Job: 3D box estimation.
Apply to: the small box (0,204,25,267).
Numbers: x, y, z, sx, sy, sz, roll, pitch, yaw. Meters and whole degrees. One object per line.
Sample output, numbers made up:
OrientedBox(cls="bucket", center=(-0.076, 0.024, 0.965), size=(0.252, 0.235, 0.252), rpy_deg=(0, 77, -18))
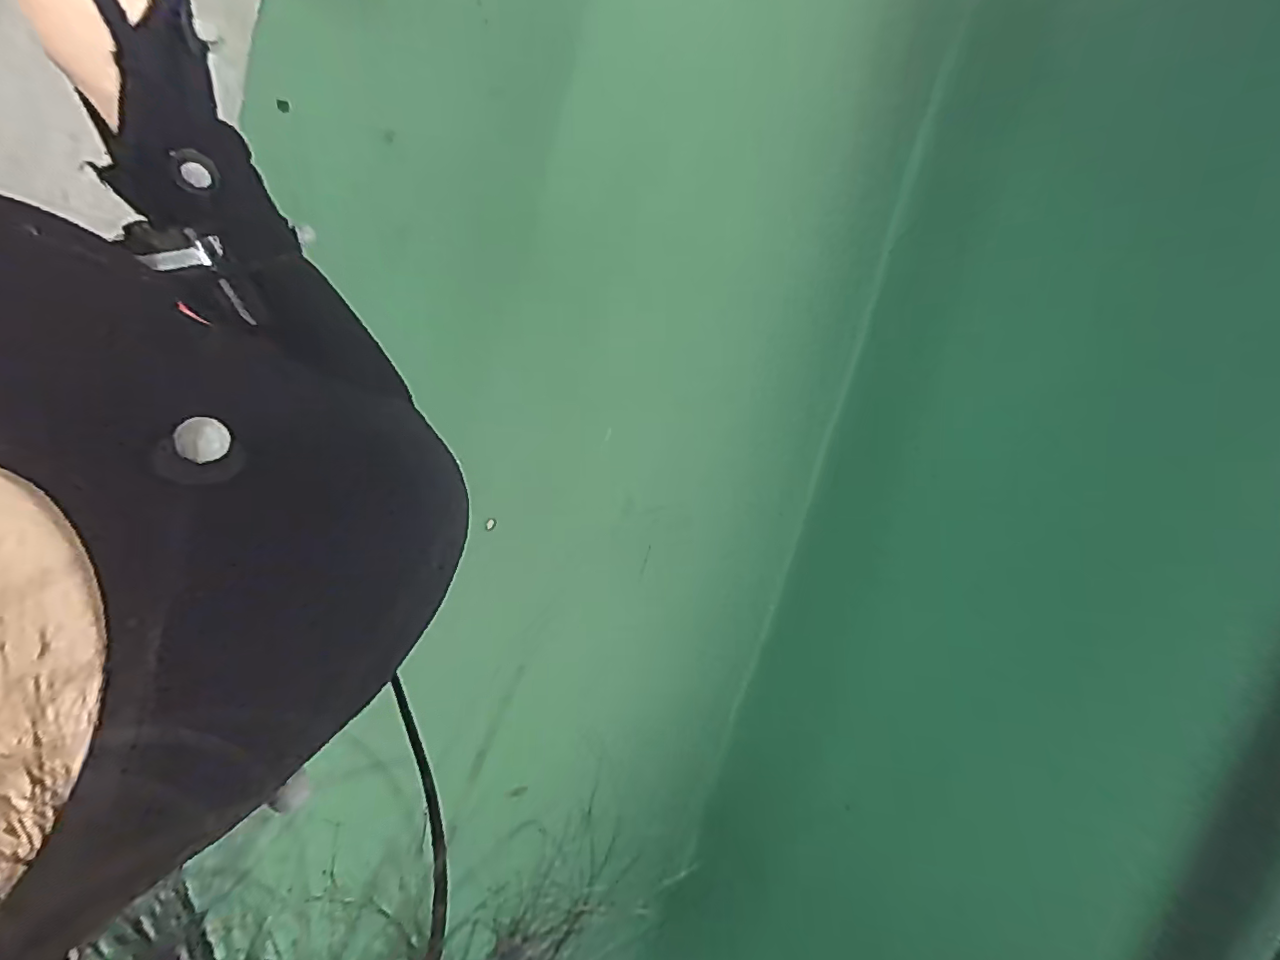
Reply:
OrientedBox(cls="small box", center=(-1.098, -0.388, 0.797), size=(0.176, 0.168, 0.179), rpy_deg=(90, 12, -67))
